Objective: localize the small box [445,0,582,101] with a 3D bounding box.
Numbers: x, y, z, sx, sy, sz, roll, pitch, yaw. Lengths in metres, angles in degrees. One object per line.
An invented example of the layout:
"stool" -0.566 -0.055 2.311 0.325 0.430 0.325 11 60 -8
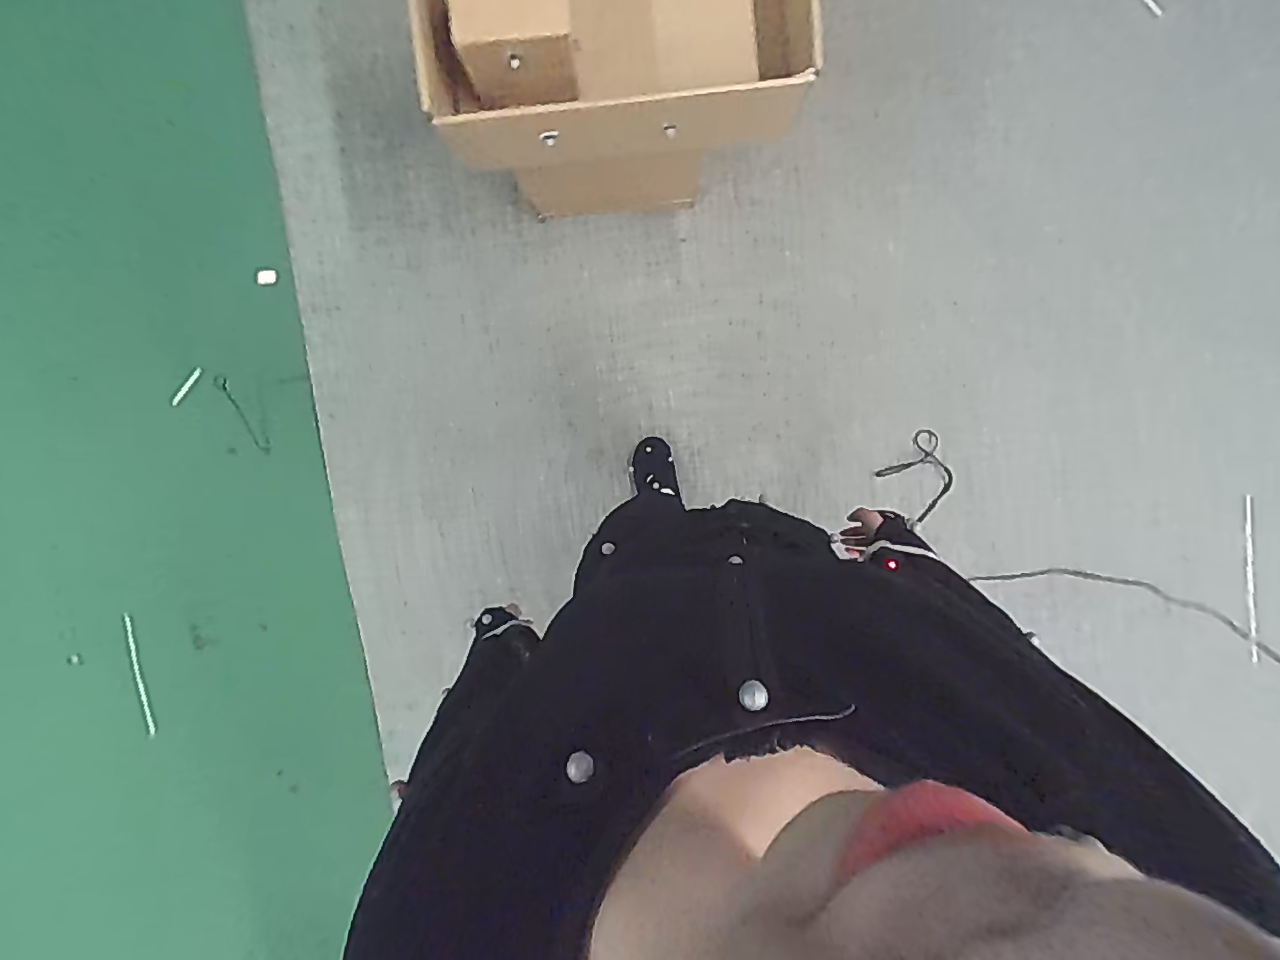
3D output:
"small box" -0.196 -0.738 0.860 0.179 0.176 0.168 -4 96 2
